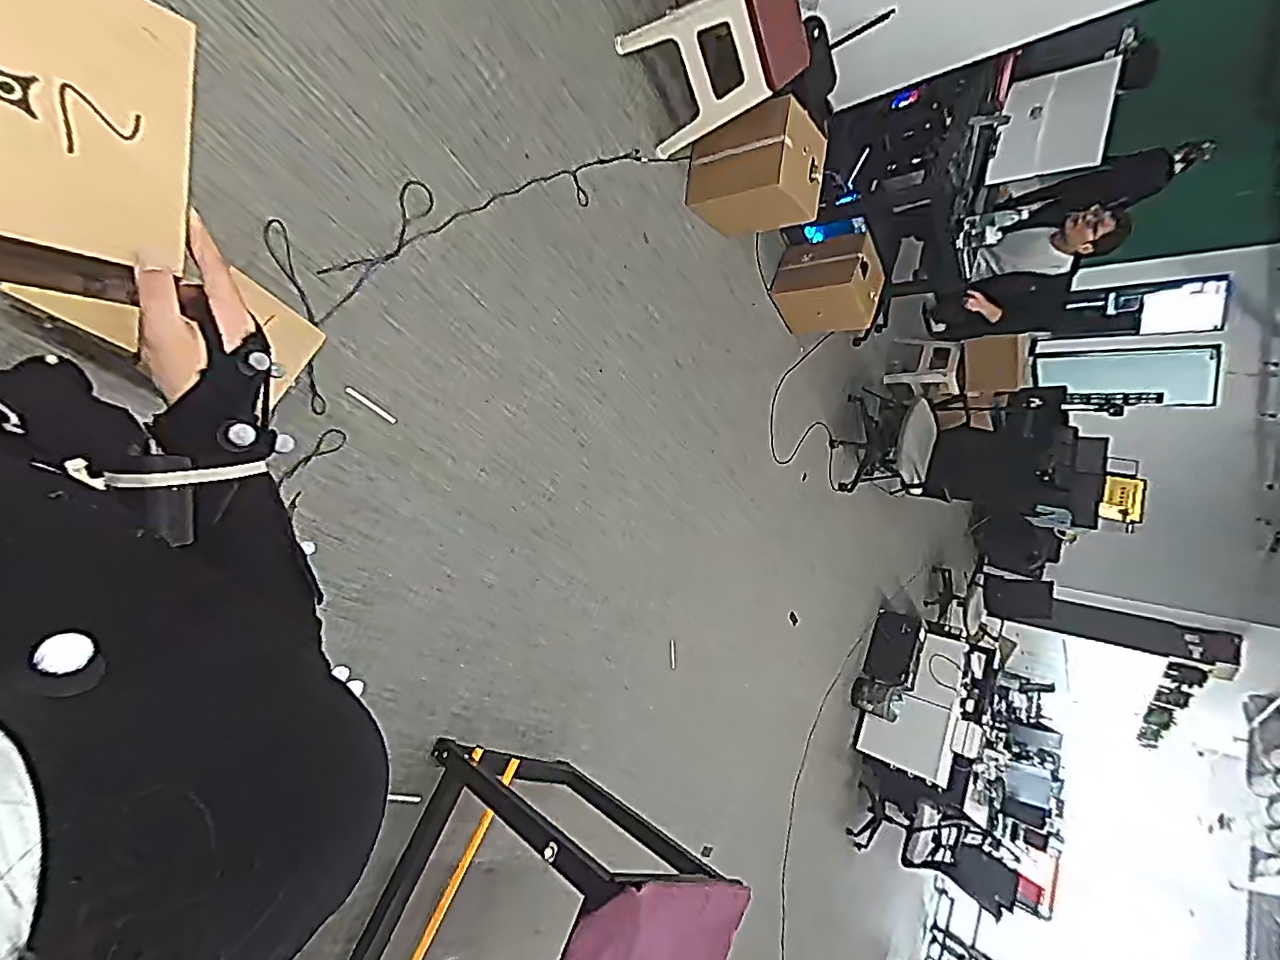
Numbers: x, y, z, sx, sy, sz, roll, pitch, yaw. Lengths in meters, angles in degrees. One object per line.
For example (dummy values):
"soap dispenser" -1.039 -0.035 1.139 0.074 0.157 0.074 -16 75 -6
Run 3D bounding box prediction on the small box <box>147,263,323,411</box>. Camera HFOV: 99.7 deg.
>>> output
"small box" -0.693 -0.234 0.924 0.168 0.176 0.179 44 63 -42
